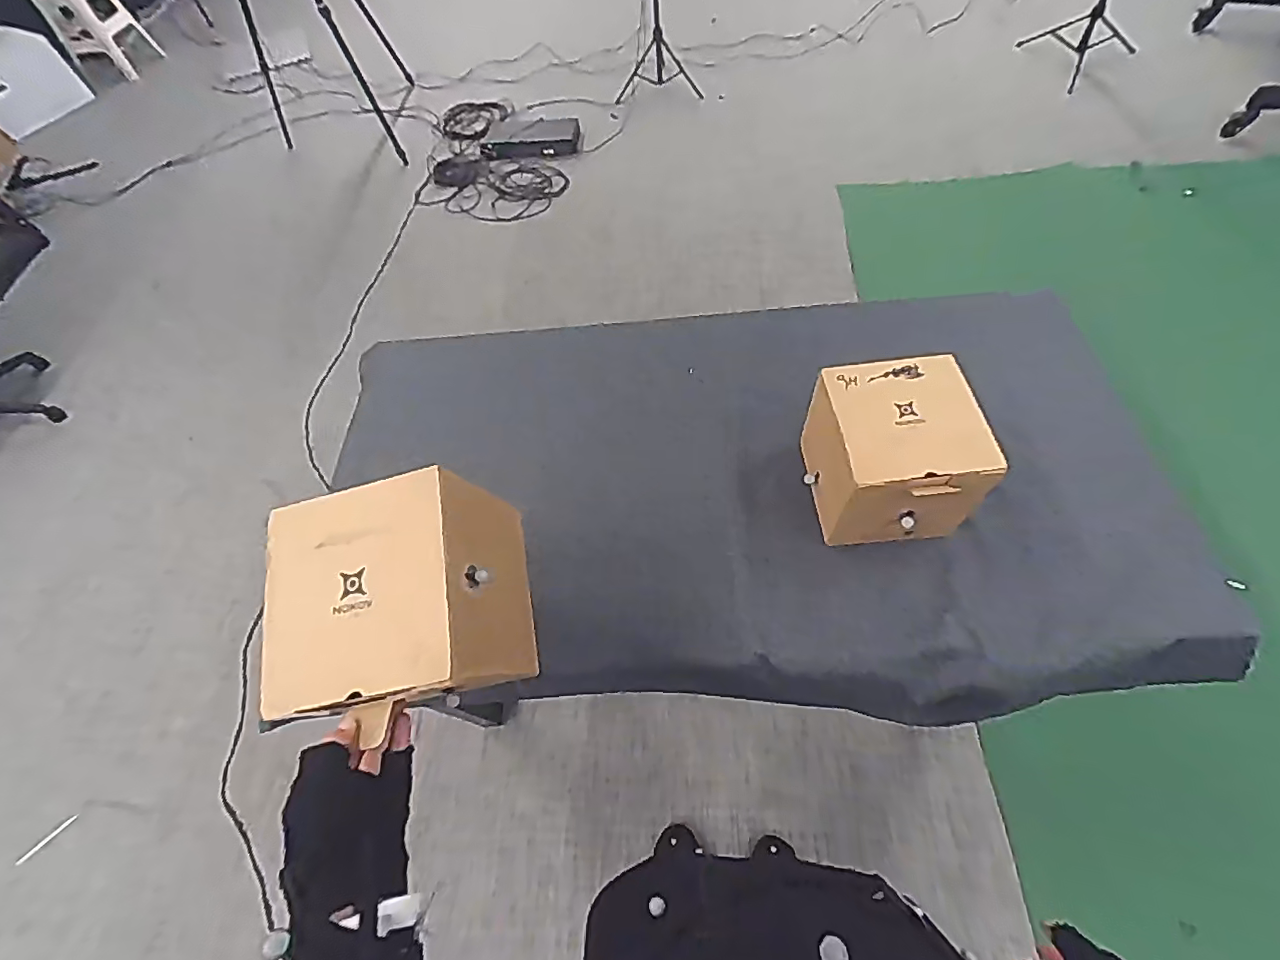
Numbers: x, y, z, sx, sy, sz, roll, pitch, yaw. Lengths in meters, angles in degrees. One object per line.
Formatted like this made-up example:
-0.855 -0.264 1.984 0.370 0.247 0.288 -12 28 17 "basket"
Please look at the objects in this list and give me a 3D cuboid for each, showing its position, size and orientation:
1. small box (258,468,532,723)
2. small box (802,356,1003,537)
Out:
-0.212 0.110 0.504 0.168 0.176 0.179 -14 70 7 "small box"
0.320 -0.033 0.704 0.168 0.176 0.179 -5 60 3 "small box"
